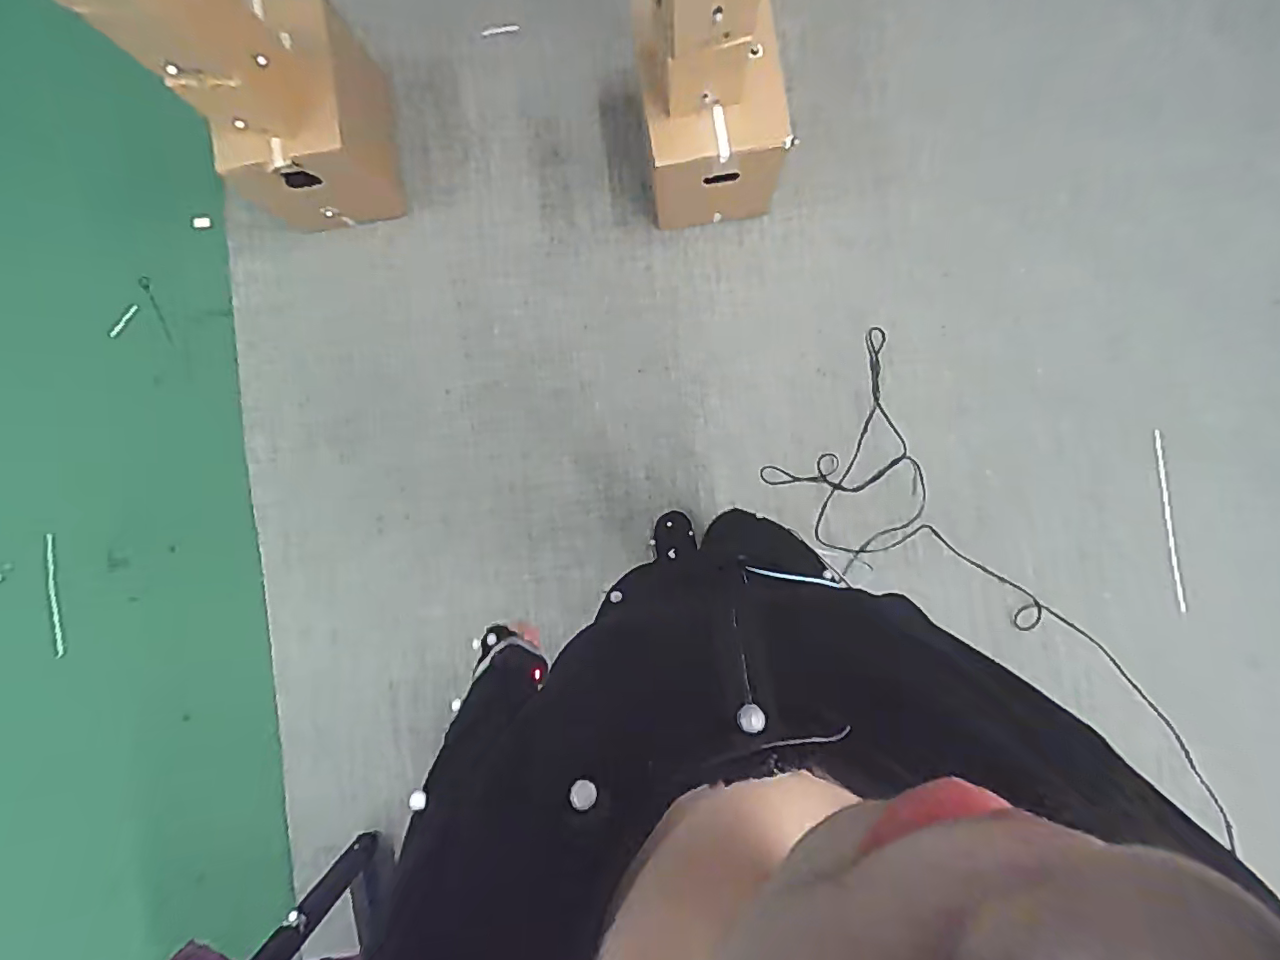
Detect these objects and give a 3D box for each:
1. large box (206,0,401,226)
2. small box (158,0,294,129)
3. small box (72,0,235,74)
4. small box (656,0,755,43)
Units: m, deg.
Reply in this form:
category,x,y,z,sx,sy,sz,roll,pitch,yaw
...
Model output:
category,x,y,z,sx,sy,sz,roll,pitch,yaw
large box,-0.865,-0.948,1.405,0.320,0.320,0.408,-8,89,3
small box,-0.879,-0.896,1.163,0.168,0.176,0.179,3,91,4
small box,-0.895,-0.905,1.001,0.168,0.176,0.179,6,92,5
small box,0.108,-0.916,0.942,0.168,0.176,0.179,-17,90,4
